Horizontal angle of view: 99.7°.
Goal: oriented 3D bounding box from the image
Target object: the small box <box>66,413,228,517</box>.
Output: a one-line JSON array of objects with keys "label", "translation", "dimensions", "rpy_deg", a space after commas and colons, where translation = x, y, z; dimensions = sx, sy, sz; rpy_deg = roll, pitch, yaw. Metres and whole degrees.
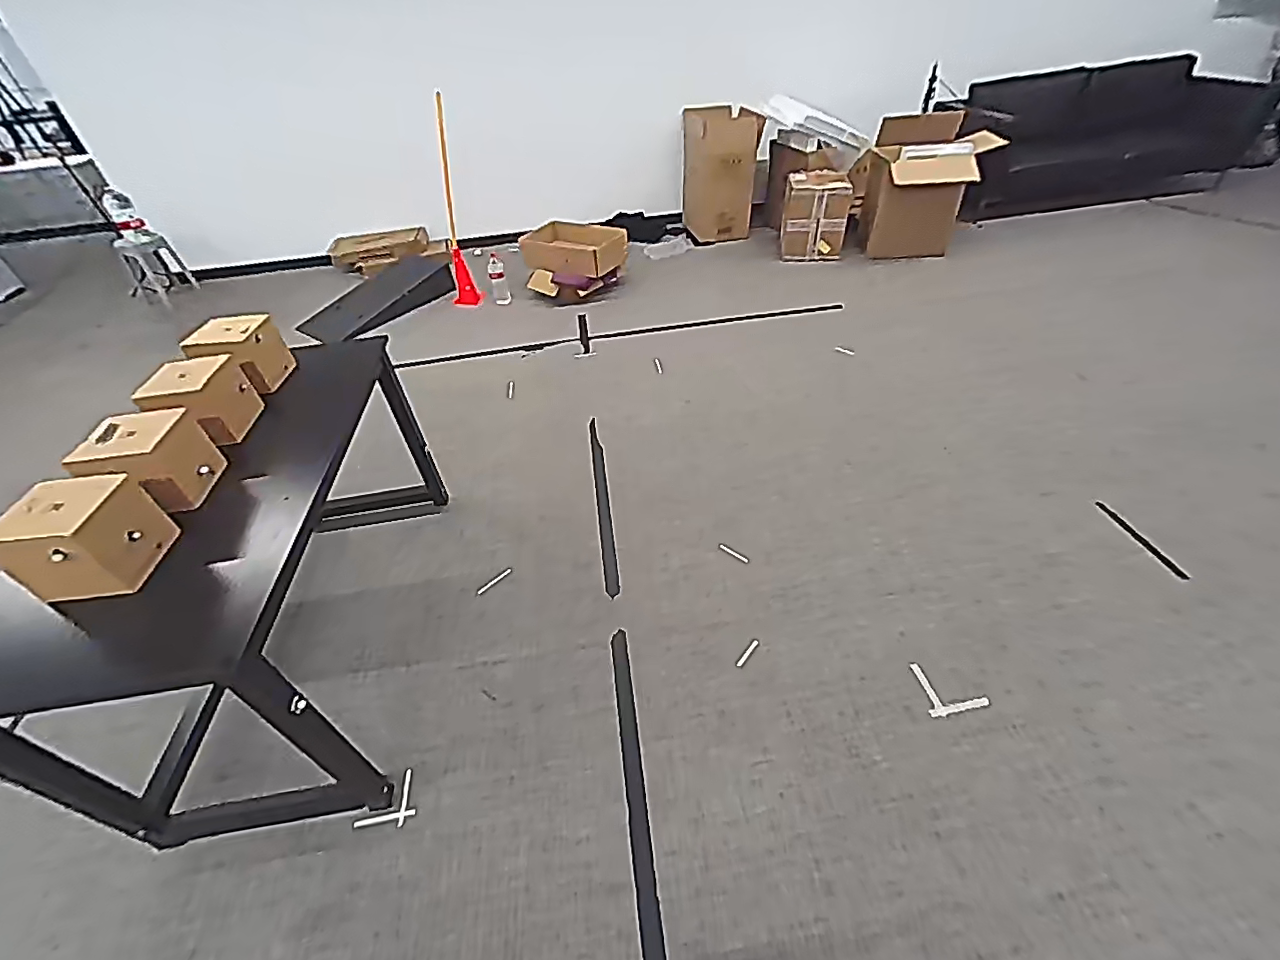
[{"label": "small box", "translation": [-1.088, -0.026, 1.213], "dimensions": [0.179, 0.176, 0.168], "rpy_deg": [-8, 41, -5]}]

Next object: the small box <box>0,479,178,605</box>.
[{"label": "small box", "translation": [-1.063, 0.121, 1.045], "dimensions": [0.179, 0.176, 0.168], "rpy_deg": [-7, 41, -1]}]

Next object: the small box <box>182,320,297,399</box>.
[{"label": "small box", "translation": [-1.157, -0.345, 1.579], "dimensions": [0.179, 0.176, 0.168], "rpy_deg": [-6, 42, 1]}]

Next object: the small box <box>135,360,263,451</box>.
[{"label": "small box", "translation": [-1.125, -0.186, 1.400], "dimensions": [0.168, 0.176, 0.179], "rpy_deg": [-9, 43, -2]}]
